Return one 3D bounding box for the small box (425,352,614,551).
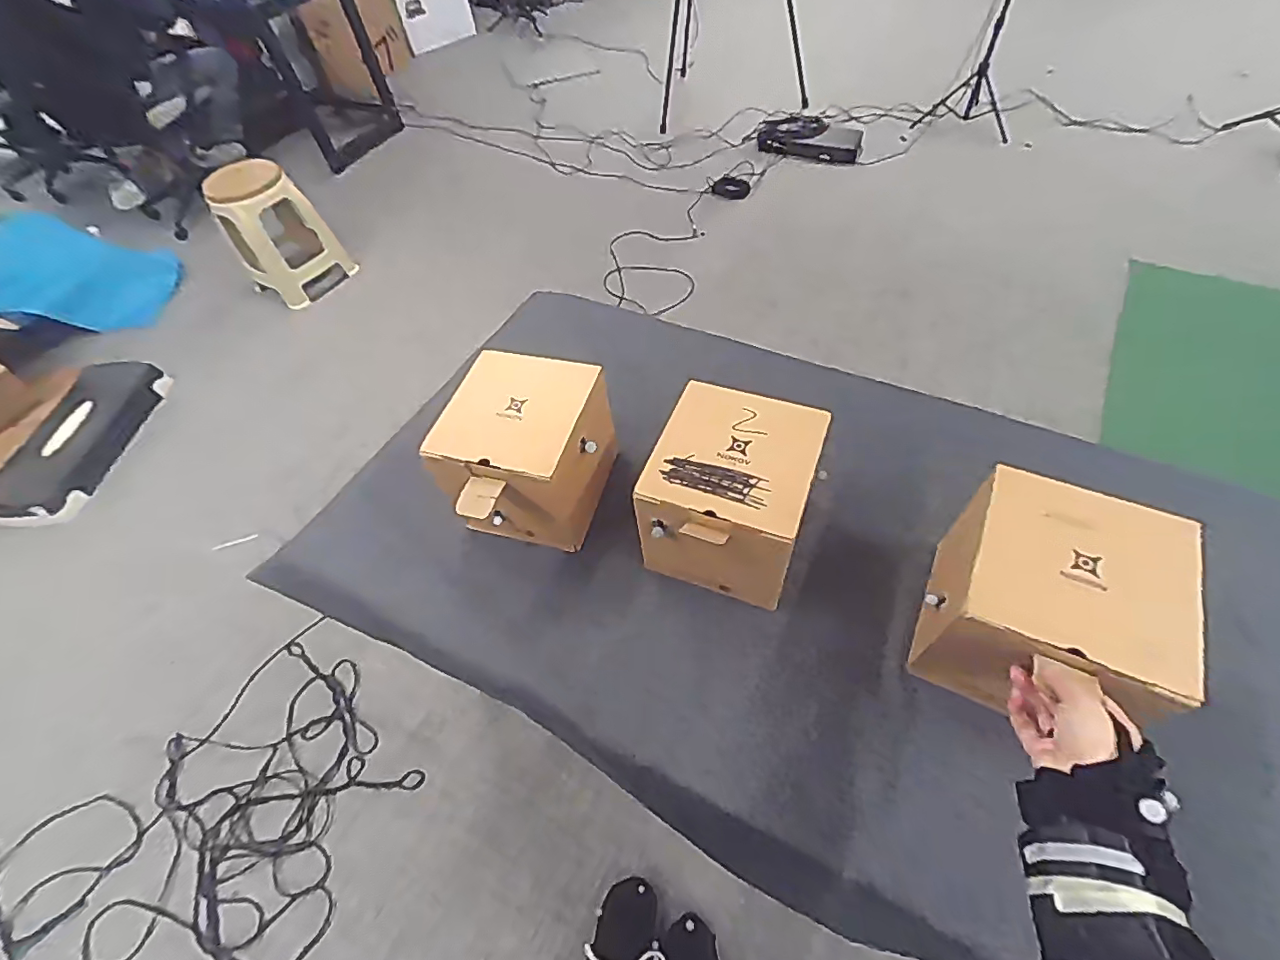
[{"bbox_3d":[-0.137,-0.035,0.699,0.168,0.176,0.179,11,57,13],"label":"small box"}]

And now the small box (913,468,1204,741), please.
[{"bbox_3d":[0.391,0.126,0.531,0.168,0.176,0.179,22,58,19],"label":"small box"}]
